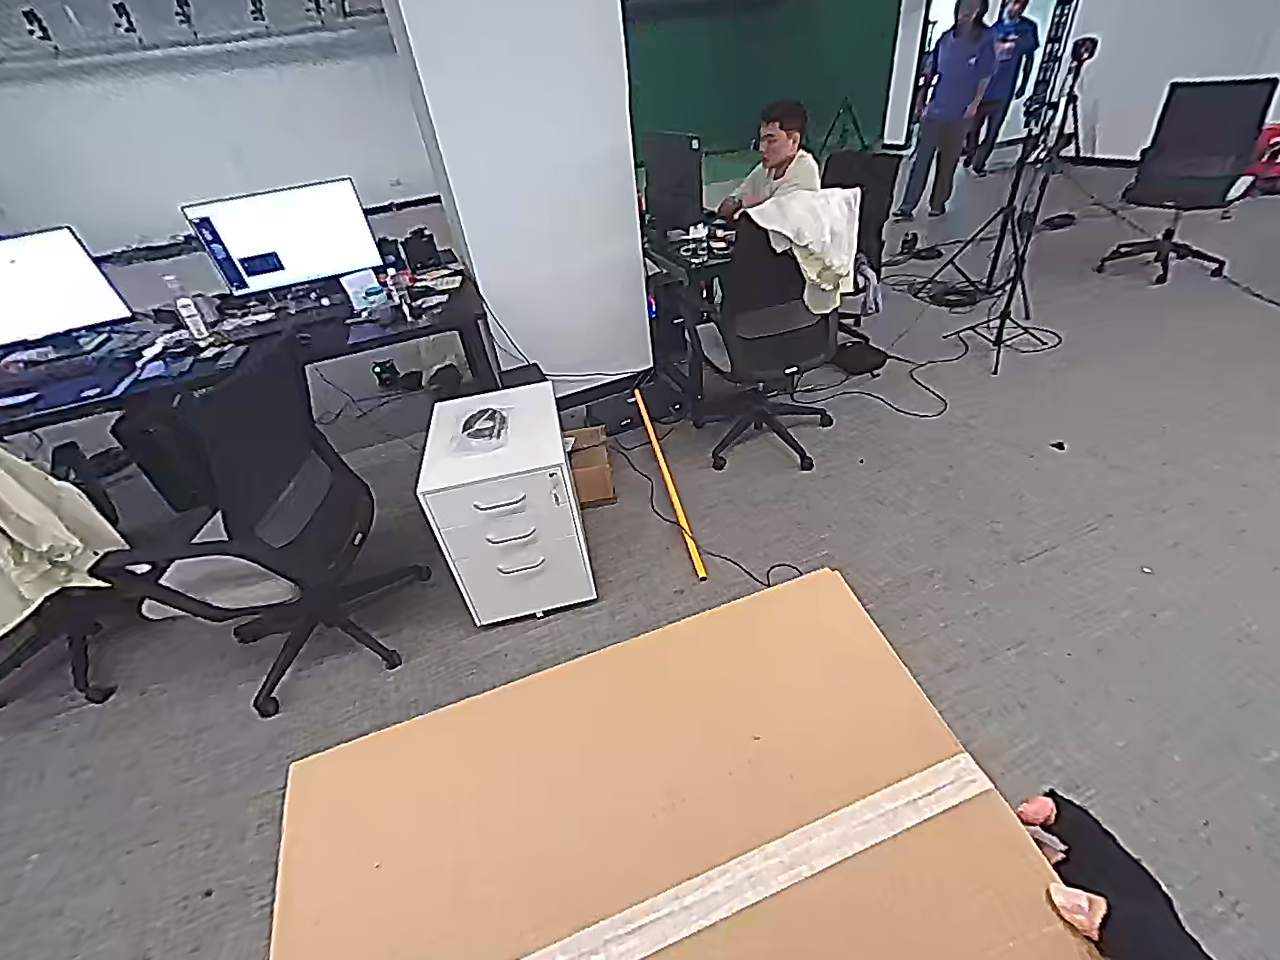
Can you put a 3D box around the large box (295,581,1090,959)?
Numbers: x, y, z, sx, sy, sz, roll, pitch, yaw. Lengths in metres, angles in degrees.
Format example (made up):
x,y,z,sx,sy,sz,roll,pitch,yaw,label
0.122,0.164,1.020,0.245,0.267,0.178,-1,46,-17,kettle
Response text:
x,y,z,sx,sy,sz,roll,pitch,yaw,label
0.026,0.341,0.408,0.408,0.320,0.320,-18,48,-9,large box
